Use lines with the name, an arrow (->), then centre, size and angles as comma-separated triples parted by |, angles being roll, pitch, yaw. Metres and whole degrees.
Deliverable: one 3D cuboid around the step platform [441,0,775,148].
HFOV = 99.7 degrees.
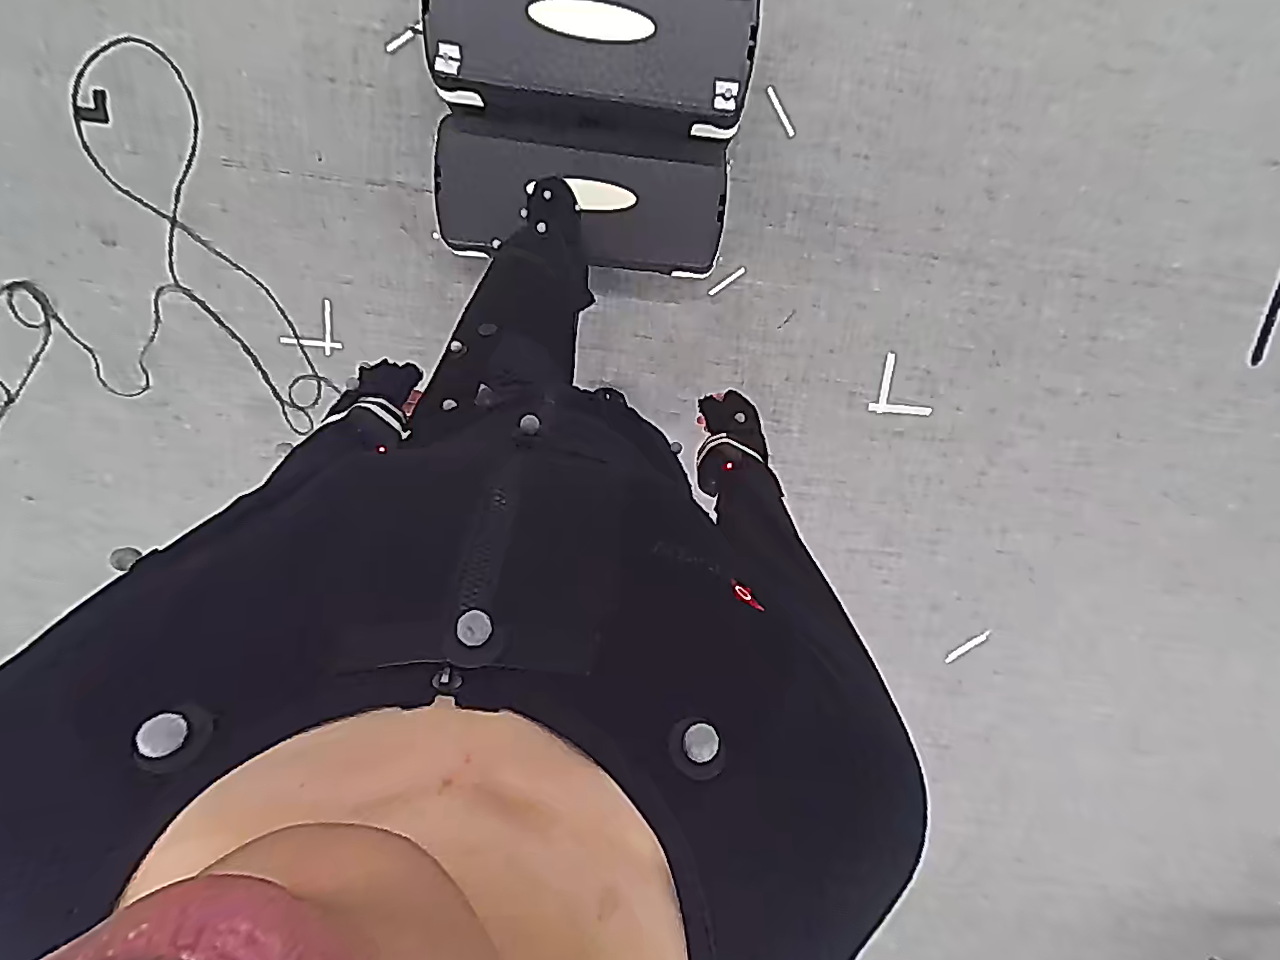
step platform -> -0.065, -0.931, 1.157 | 0.684, 0.204, 0.286 | 5, 105, -4
